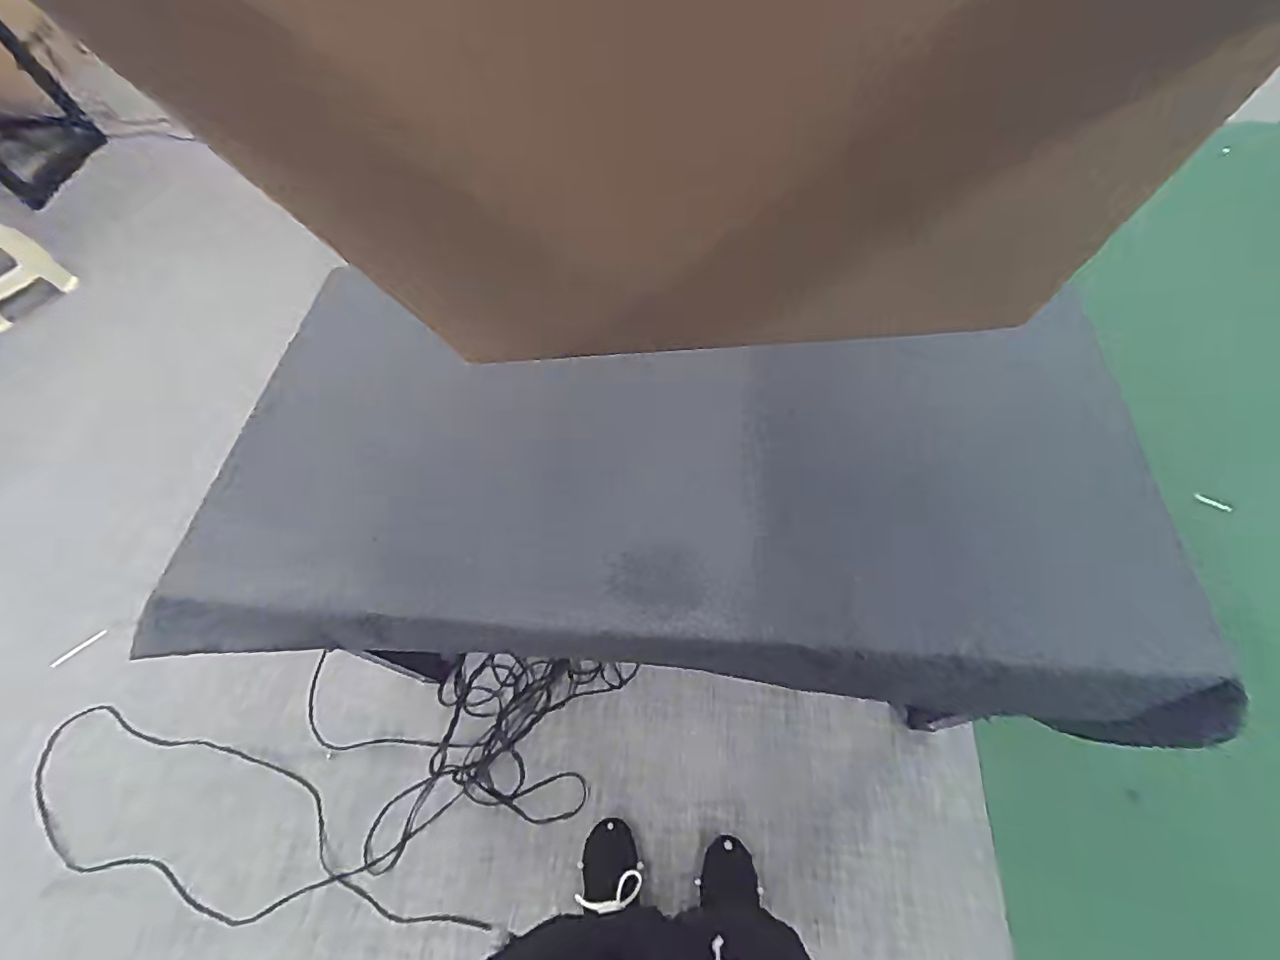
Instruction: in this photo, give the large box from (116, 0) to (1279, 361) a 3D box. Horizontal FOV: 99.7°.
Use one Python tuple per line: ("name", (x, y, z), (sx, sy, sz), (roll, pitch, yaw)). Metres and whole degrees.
("large box", (0.043, -0.279, 0.289), (0.408, 0.320, 0.320), (-1, 78, 10))
